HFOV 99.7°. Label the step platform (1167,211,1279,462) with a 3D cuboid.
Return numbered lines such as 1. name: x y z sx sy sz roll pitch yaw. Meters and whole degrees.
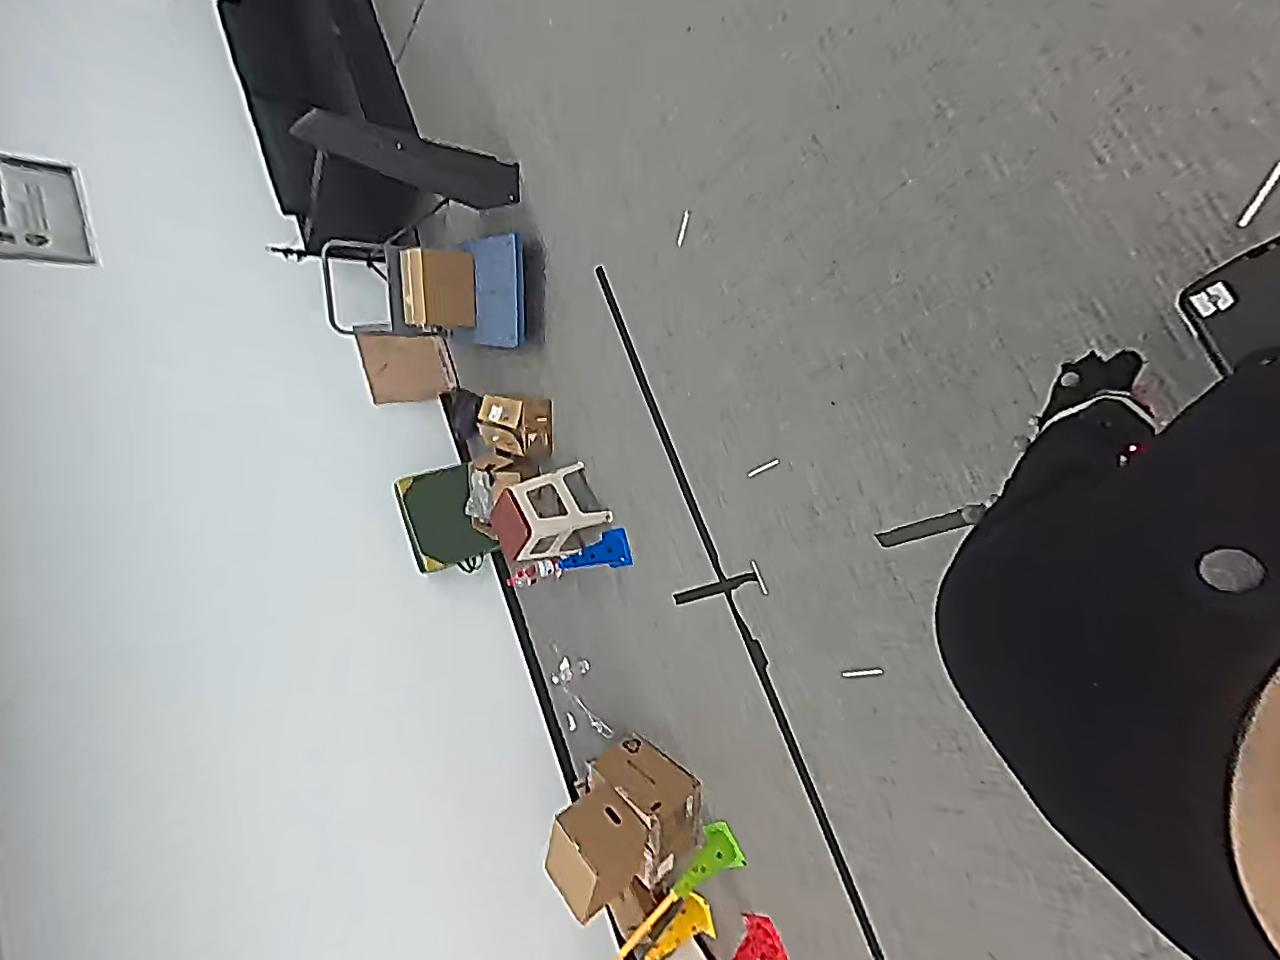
1. step platform: 1.286 -0.172 0.962 0.286 0.204 0.684 -34 72 47
